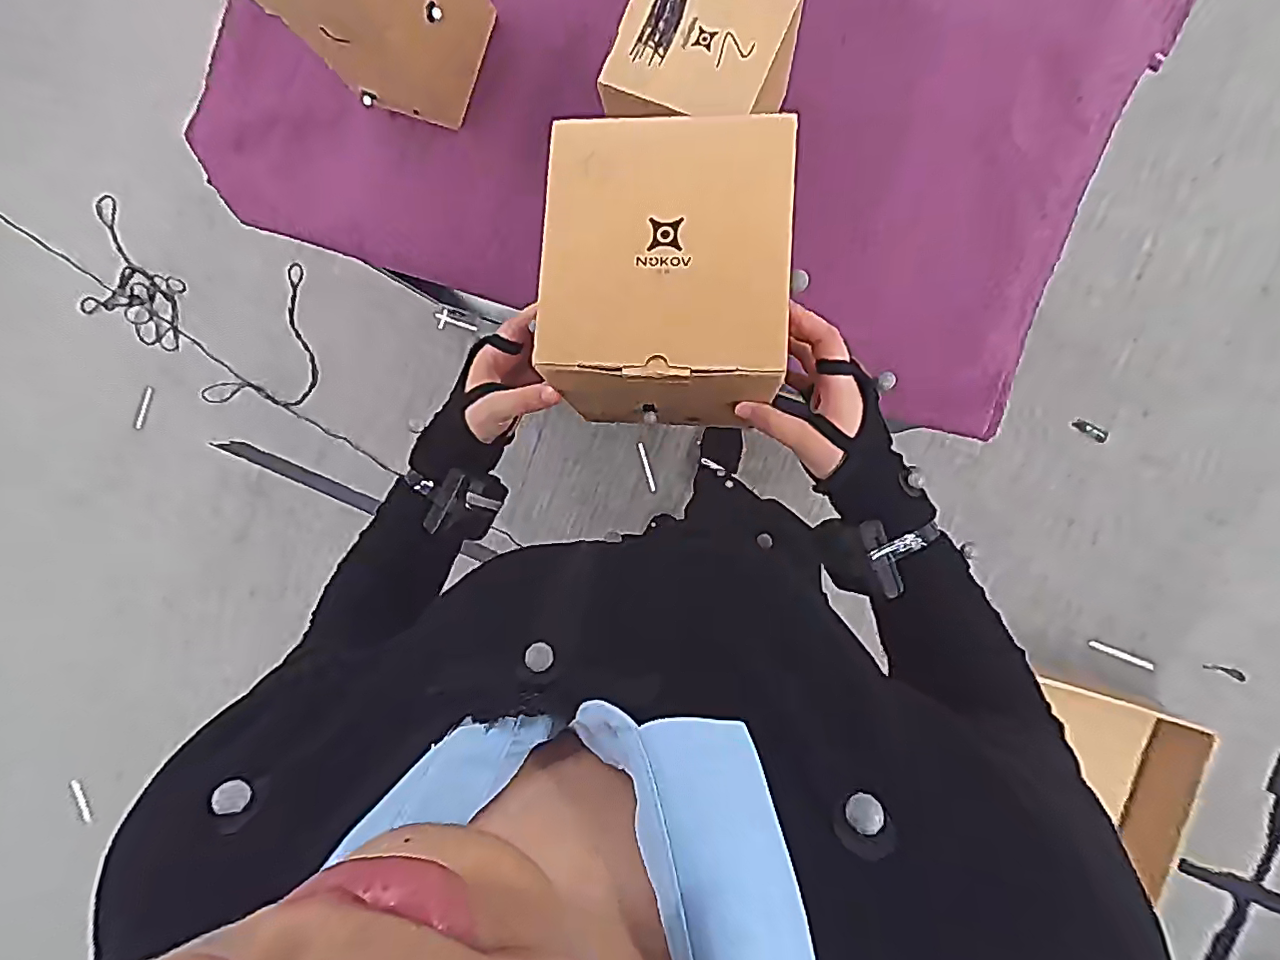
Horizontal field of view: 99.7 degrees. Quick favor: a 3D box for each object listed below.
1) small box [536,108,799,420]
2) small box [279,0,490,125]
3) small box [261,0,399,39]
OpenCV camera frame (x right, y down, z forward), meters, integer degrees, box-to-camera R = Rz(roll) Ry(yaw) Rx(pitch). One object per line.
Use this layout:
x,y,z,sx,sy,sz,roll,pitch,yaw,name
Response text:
0.026,-0.154,0.432,0.168,0.176,0.179,3,85,7,small box
-0.322,-0.617,0.715,0.168,0.176,0.179,21,94,7,small box
-0.351,-0.606,0.552,0.179,0.176,0.168,20,94,7,small box
